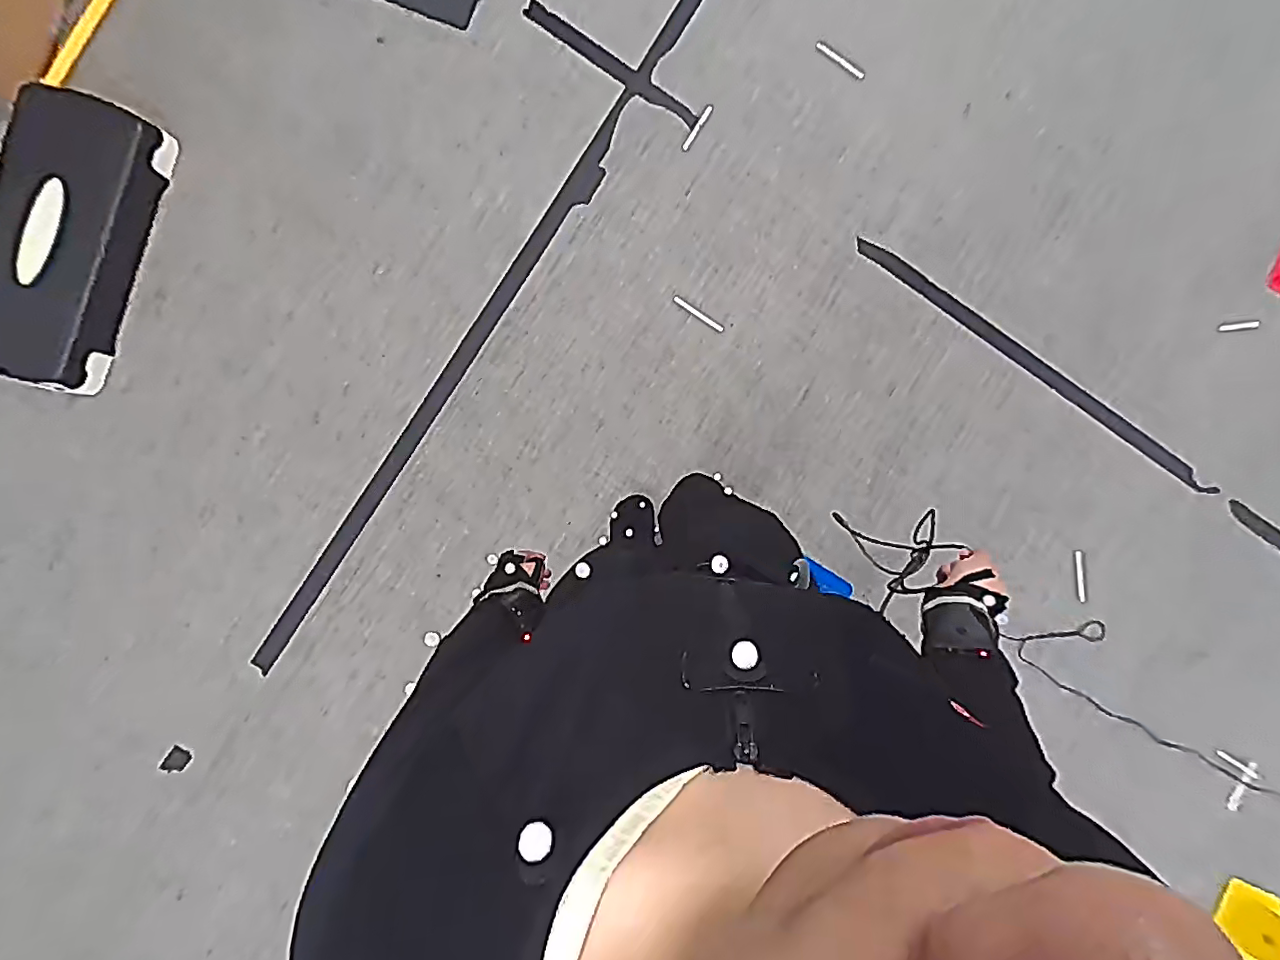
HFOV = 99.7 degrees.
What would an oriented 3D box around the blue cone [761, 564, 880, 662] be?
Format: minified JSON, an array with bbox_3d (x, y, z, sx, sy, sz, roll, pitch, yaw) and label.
[{"bbox_3d":[0.440,0.327,1.232,0.193,0.380,0.192,34,88,-3],"label":"blue cone"}]
